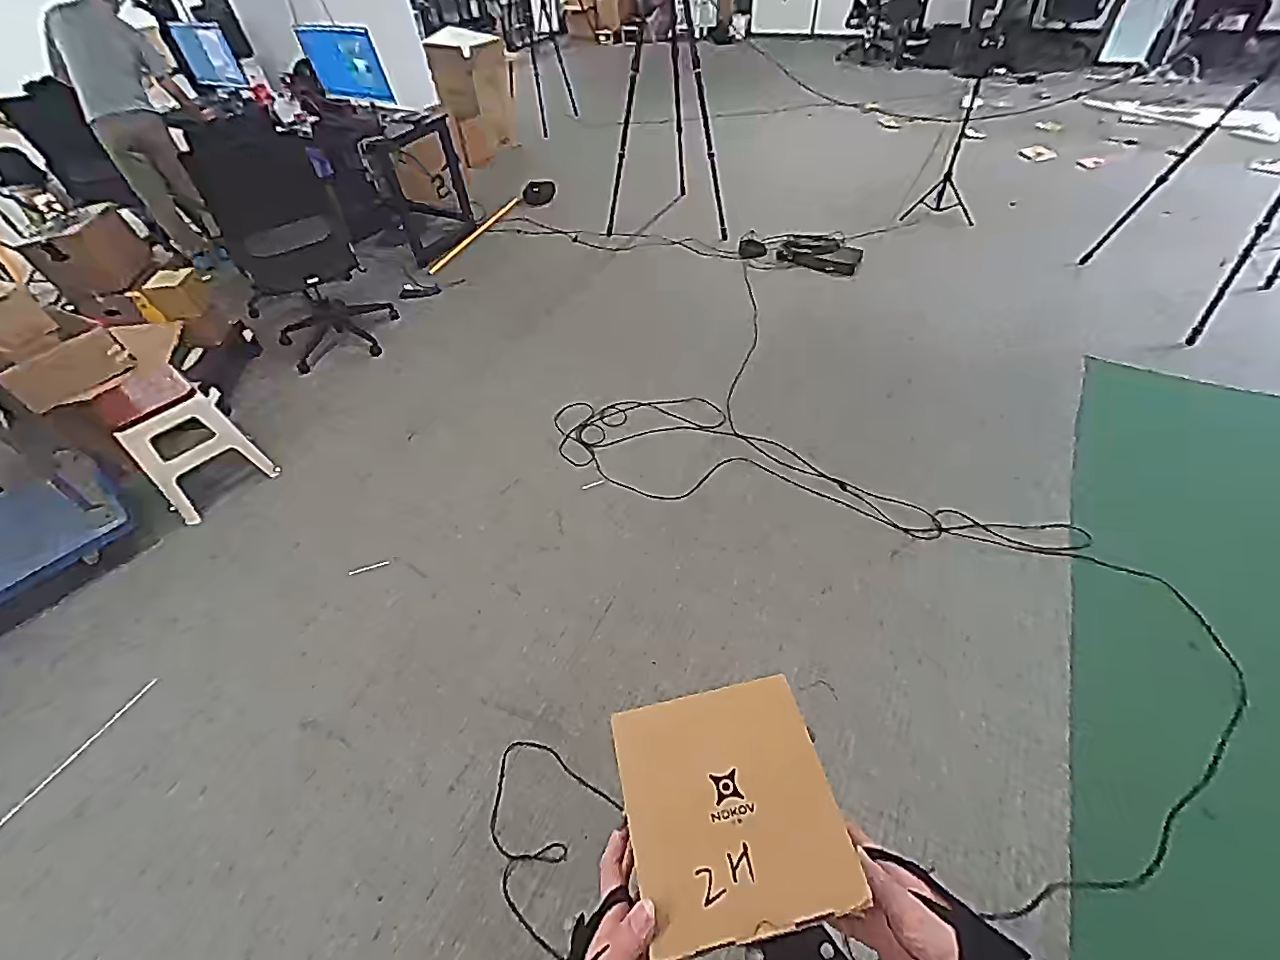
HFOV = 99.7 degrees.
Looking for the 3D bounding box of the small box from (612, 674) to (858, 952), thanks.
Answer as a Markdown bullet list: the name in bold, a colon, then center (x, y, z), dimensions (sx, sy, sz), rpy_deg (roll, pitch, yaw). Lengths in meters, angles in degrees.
- **small box**: center (0.071, 0.312, 0.507), dimensions (0.168, 0.176, 0.179), rpy_deg (-11, 49, -5)
